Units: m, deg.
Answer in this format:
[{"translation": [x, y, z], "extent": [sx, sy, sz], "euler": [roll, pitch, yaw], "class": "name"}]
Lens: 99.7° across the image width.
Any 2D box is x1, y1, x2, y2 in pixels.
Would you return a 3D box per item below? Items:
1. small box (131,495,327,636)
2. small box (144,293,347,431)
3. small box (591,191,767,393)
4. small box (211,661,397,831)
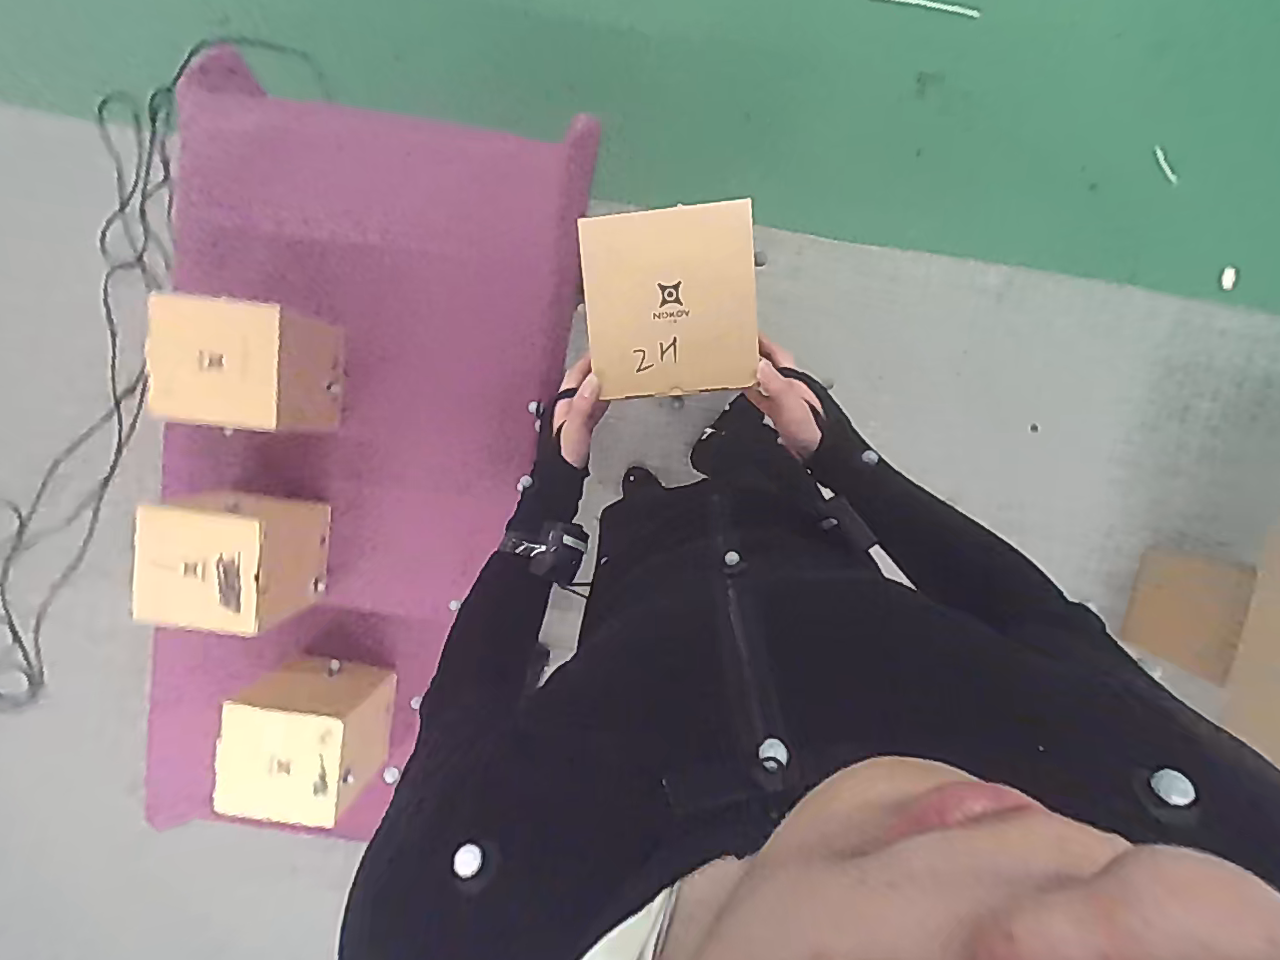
[{"translation": [-0.605, 0.119, 0.817], "extent": [0.179, 0.176, 0.168], "euler": [7, 95, 0], "class": "small box"}, {"translation": [-0.566, -0.162, 0.794], "extent": [0.179, 0.176, 0.168], "euler": [6, 96, -1], "class": "small box"}, {"translation": [0.044, -0.189, 0.593], "extent": [0.168, 0.176, 0.179], "euler": [-3, 99, 6], "class": "small box"}, {"translation": [-0.509, 0.399, 0.839], "extent": [0.179, 0.176, 0.168], "euler": [8, 95, 0], "class": "small box"}]
